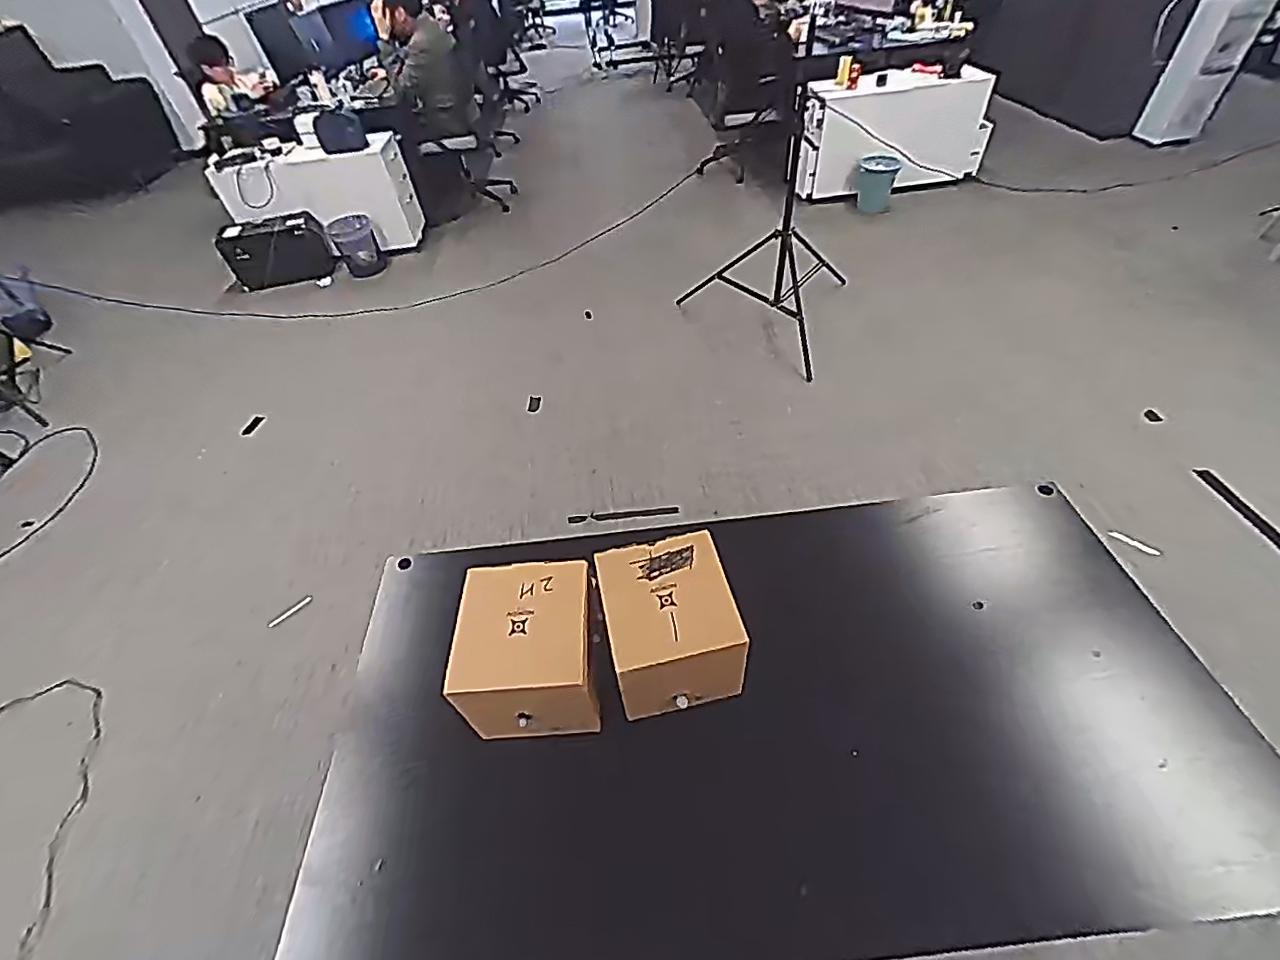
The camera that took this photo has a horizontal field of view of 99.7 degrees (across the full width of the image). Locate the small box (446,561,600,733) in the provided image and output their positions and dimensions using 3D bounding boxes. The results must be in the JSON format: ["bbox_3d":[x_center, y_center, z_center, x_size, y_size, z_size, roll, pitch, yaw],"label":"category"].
[{"bbox_3d":[-0.146,0.236,0.749,0.168,0.176,0.179,-5,47,1],"label":"small box"}]
